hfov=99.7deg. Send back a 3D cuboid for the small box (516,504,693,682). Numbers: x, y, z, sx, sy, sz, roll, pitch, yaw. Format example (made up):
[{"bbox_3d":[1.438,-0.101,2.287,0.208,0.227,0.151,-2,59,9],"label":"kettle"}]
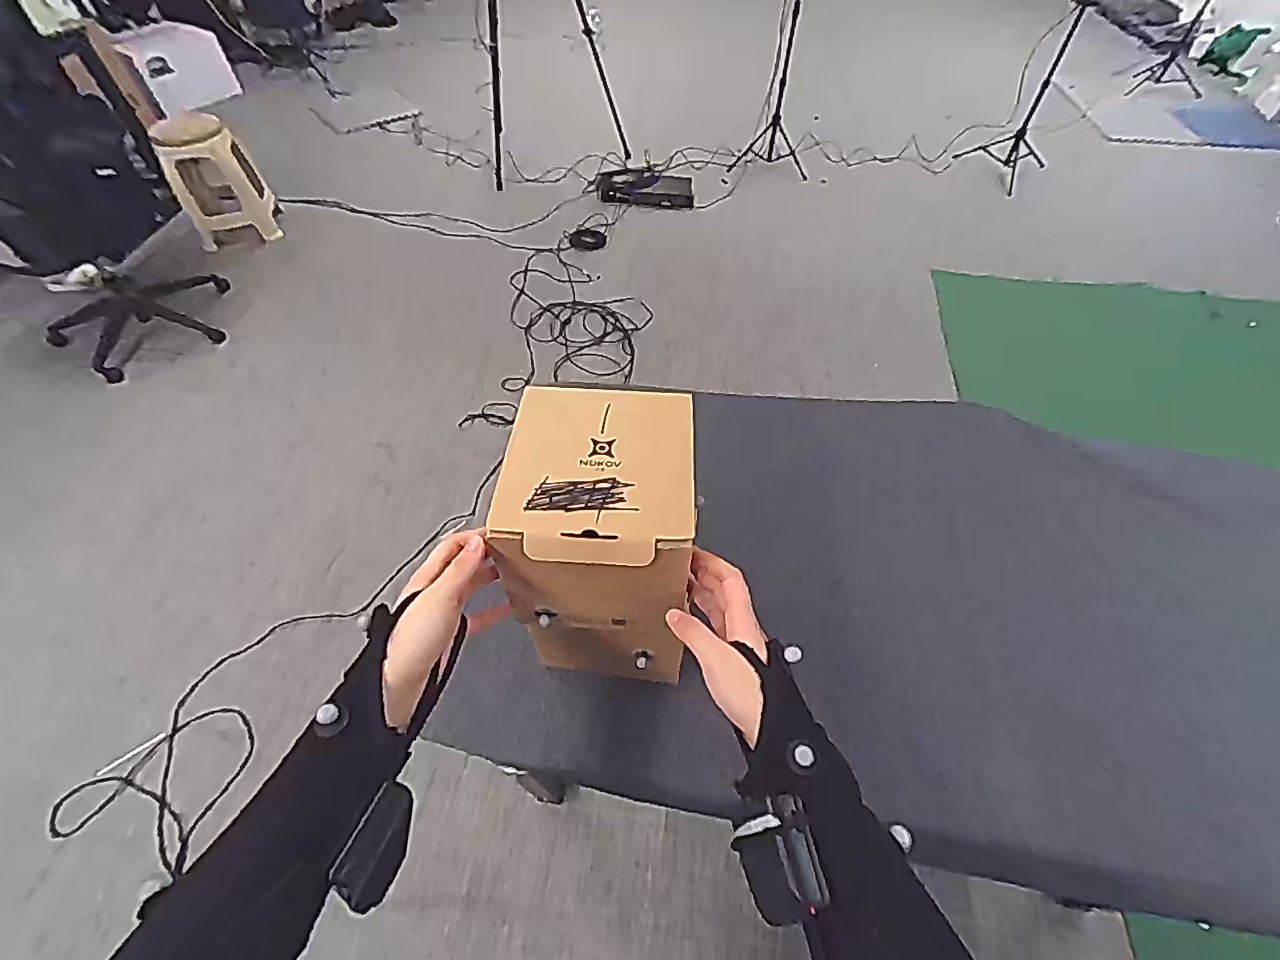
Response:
[{"bbox_3d":[-0.033,0.135,0.663,0.179,0.176,0.168,5,51,5],"label":"small box"}]

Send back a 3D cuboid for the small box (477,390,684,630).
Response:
[{"bbox_3d":[-0.043,0.033,0.533,0.168,0.176,0.179,3,50,1],"label":"small box"}]
